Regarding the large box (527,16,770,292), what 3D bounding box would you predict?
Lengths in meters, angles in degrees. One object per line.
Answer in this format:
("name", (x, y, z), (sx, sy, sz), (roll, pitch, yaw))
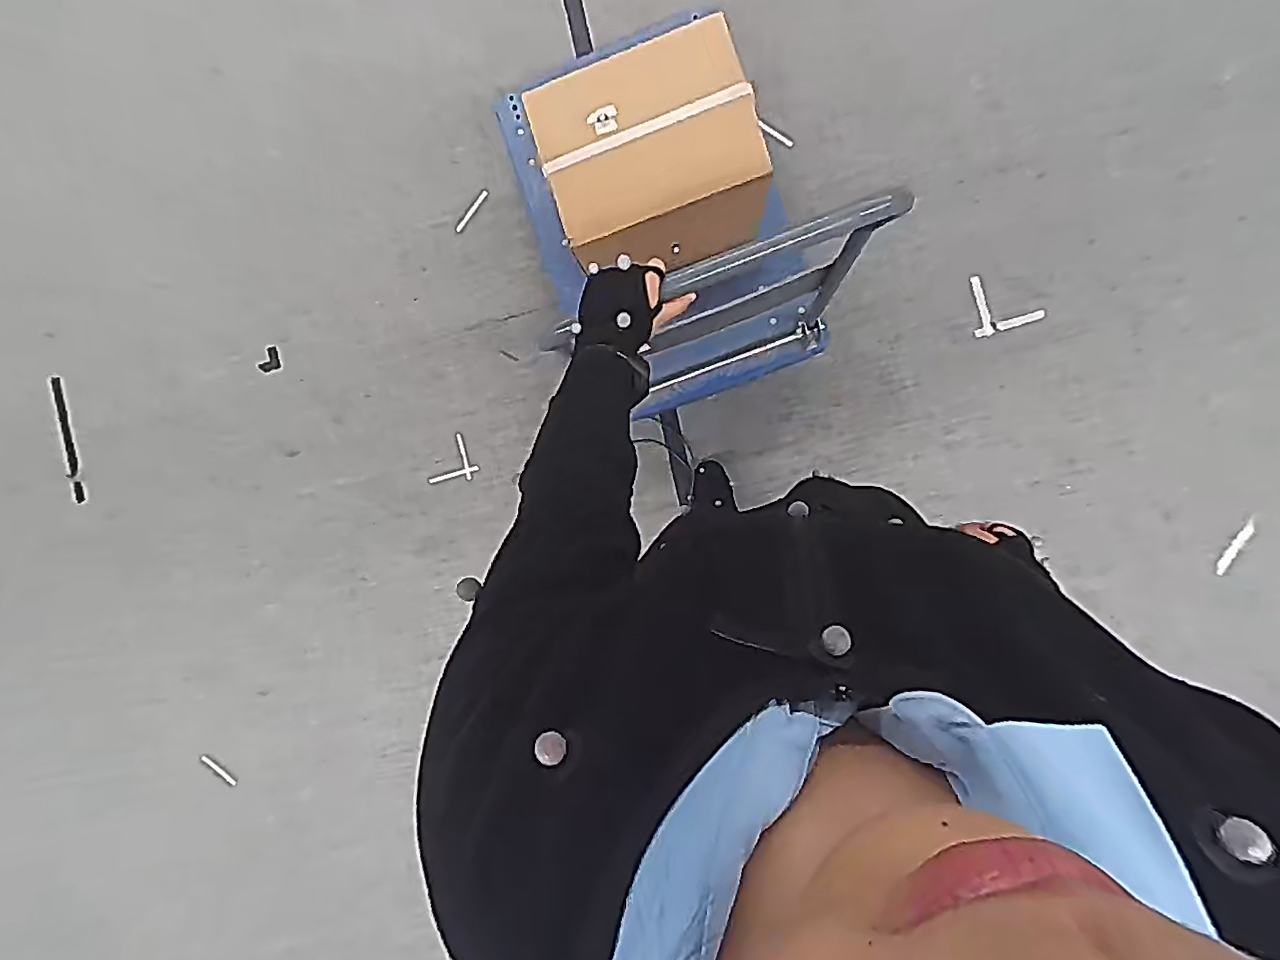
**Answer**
("large box", (0.030, -0.663, 1.175), (0.408, 0.320, 0.320), (-18, 89, 8))
